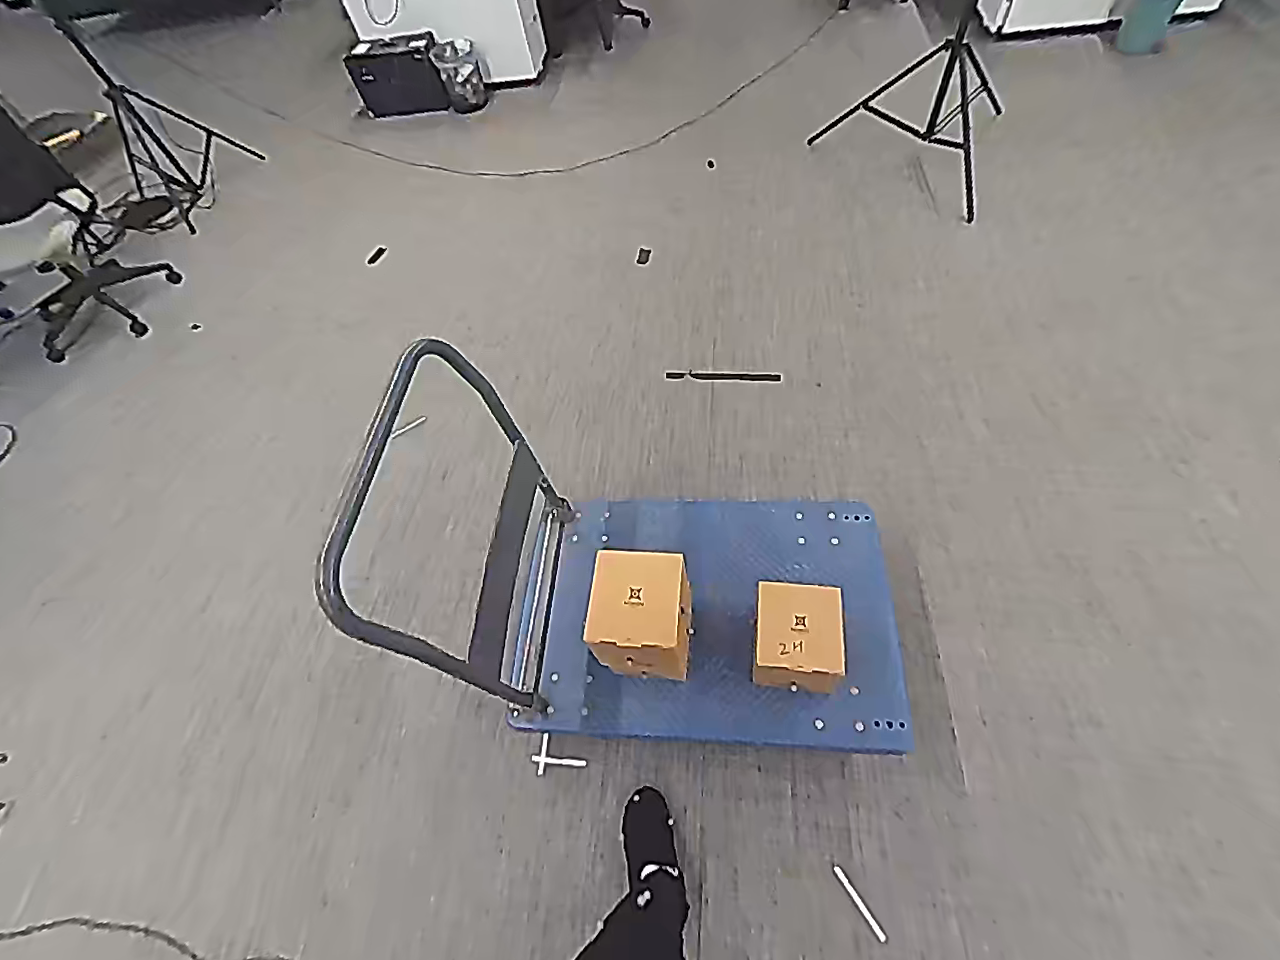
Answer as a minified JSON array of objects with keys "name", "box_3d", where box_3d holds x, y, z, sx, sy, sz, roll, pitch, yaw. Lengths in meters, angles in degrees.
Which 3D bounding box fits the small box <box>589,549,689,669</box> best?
[{"name":"small box","box_3d":[0.007,0.250,1.040,0.168,0.176,0.179,1,59,9]}]

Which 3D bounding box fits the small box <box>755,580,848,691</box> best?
[{"name":"small box","box_3d":[0.332,0.329,1.137,0.168,0.176,0.179,3,58,11]}]
